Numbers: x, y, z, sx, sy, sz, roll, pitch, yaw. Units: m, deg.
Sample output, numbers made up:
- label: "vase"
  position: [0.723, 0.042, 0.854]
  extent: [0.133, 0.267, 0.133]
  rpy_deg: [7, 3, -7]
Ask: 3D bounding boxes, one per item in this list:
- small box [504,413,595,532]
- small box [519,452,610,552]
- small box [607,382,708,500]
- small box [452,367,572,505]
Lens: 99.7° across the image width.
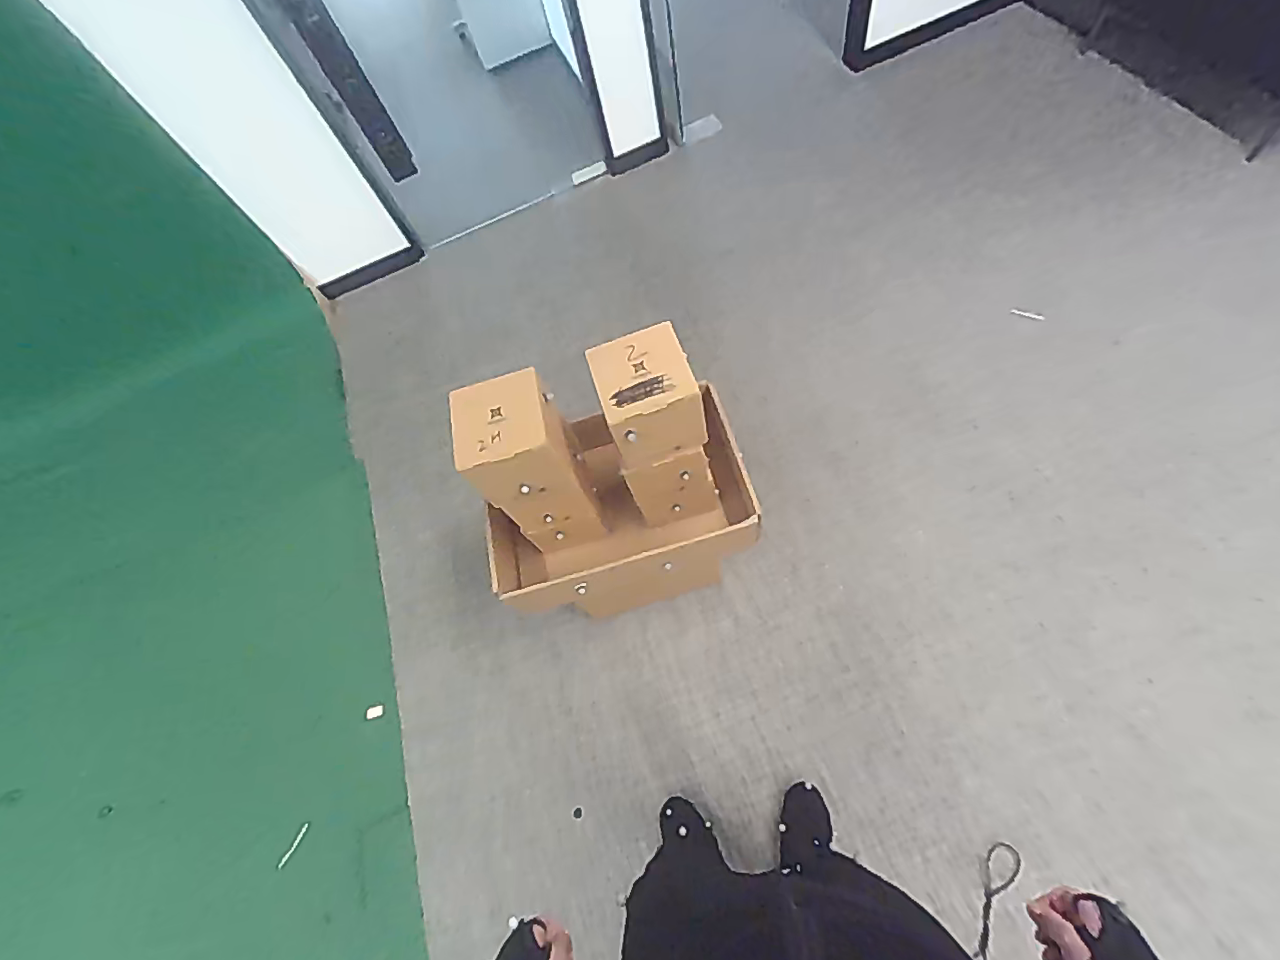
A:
- label: "small box"
  position: [-0.205, -0.012, 1.163]
  extent: [0.168, 0.176, 0.179]
  rpy_deg: [-16, 62, 3]
- label: "small box"
  position: [-0.186, 0.060, 1.309]
  extent: [0.179, 0.176, 0.168]
  rpy_deg: [-15, 62, 3]
- label: "small box"
  position: [0.041, -0.072, 1.139]
  extent: [0.168, 0.176, 0.179]
  rpy_deg: [-16, 62, 3]
- label: "small box"
  position: [-0.236, -0.077, 1.016]
  extent: [0.168, 0.176, 0.179]
  rpy_deg: [-15, 62, 3]
